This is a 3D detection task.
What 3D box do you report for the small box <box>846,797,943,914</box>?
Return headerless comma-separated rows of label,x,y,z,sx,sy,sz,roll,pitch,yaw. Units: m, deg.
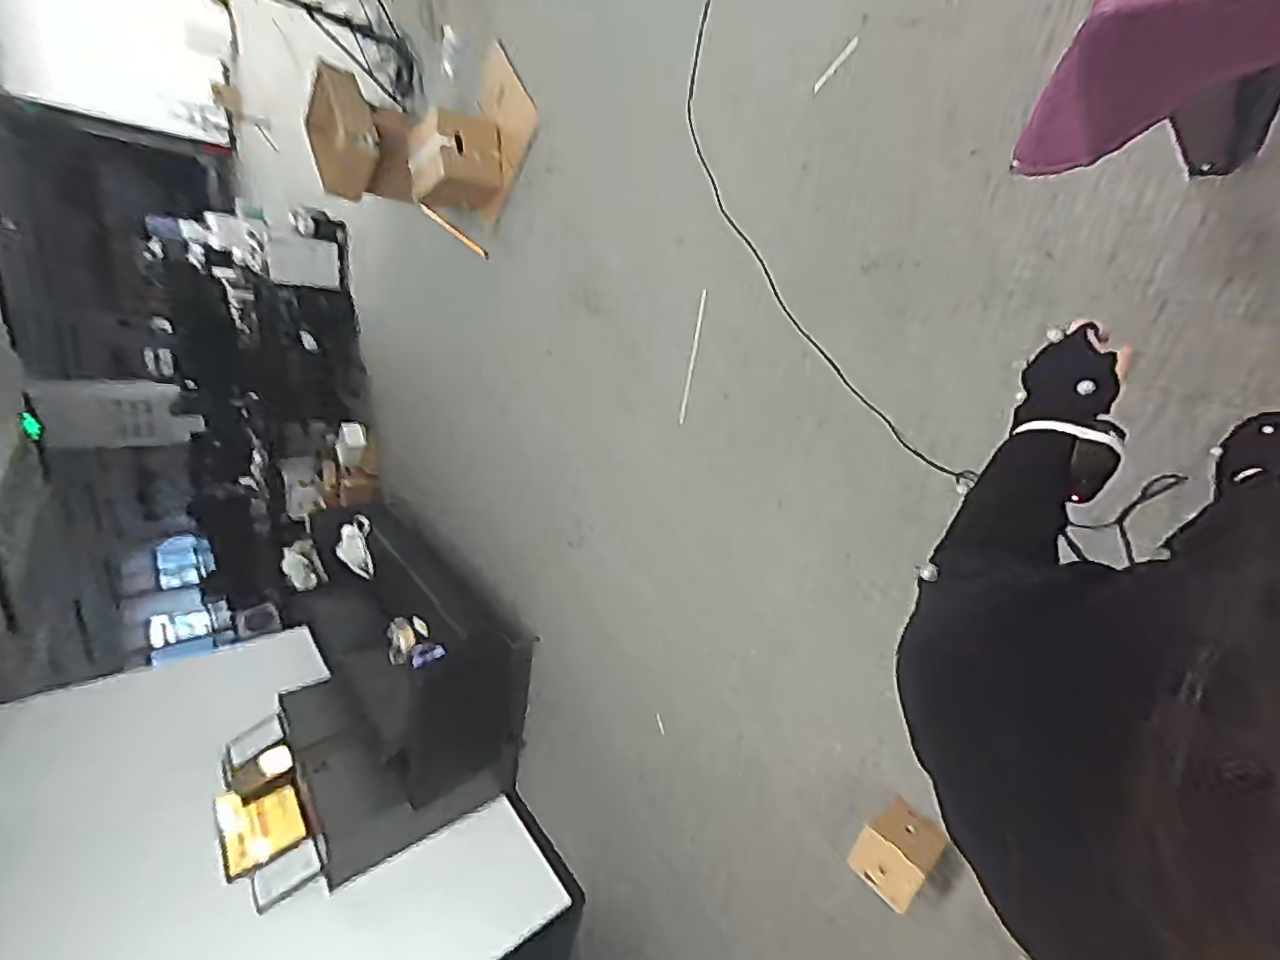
small box,0.717,1.038,1.512,0.168,0.176,0.179,33,120,42
